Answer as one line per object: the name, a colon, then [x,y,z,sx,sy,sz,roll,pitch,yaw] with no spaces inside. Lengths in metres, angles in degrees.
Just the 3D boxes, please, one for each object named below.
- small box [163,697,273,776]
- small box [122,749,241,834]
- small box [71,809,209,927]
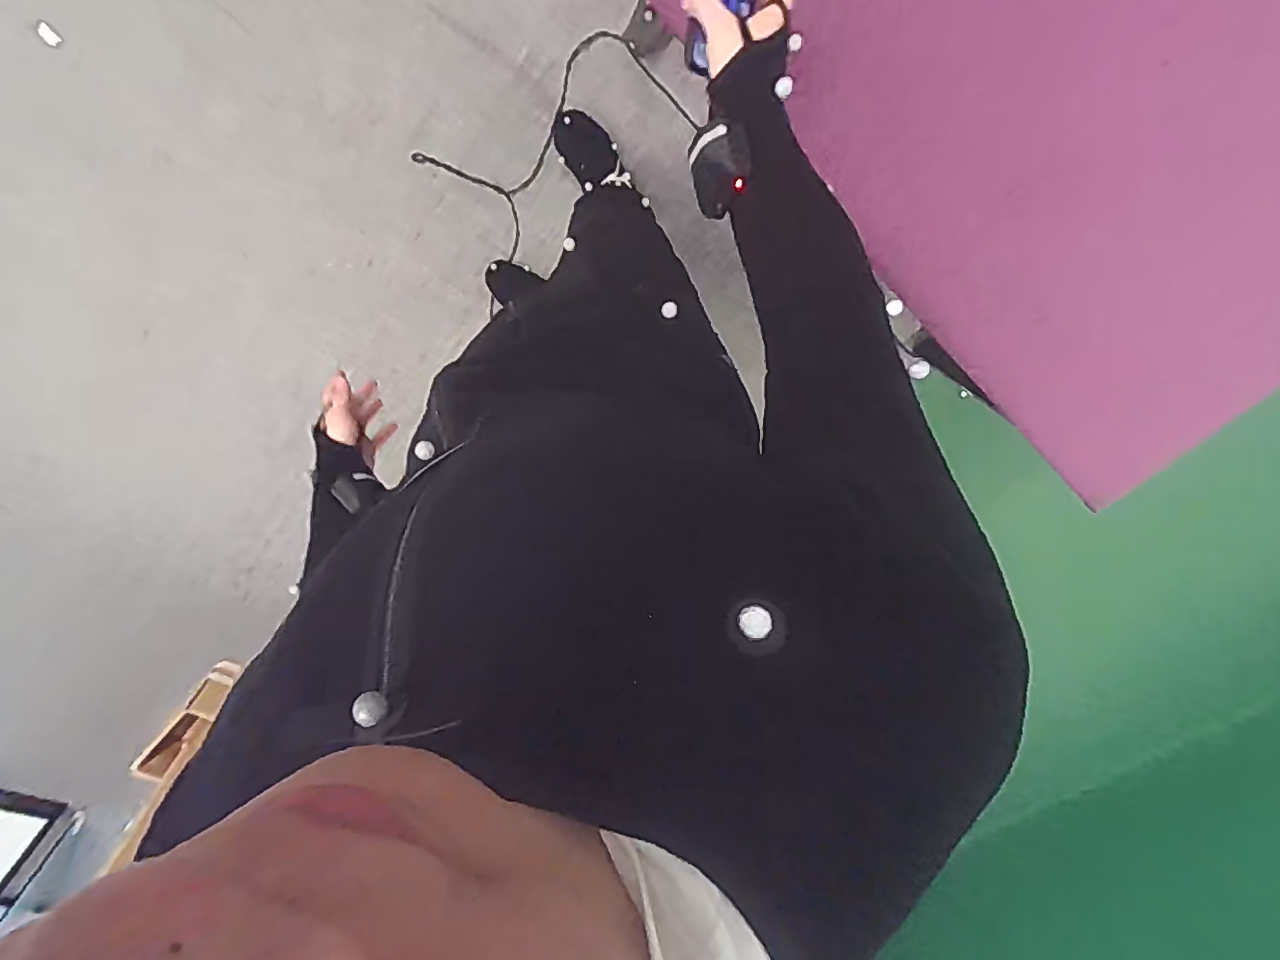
small box: [-1.246,0.786,1.611,0.179,0.176,0.168,-39,117,17]
small box: [-1.233,0.866,1.467,0.168,0.176,0.179,37,112,-24]
small box: [-1.215,0.951,1.328,0.168,0.176,0.179,37,112,-25]
